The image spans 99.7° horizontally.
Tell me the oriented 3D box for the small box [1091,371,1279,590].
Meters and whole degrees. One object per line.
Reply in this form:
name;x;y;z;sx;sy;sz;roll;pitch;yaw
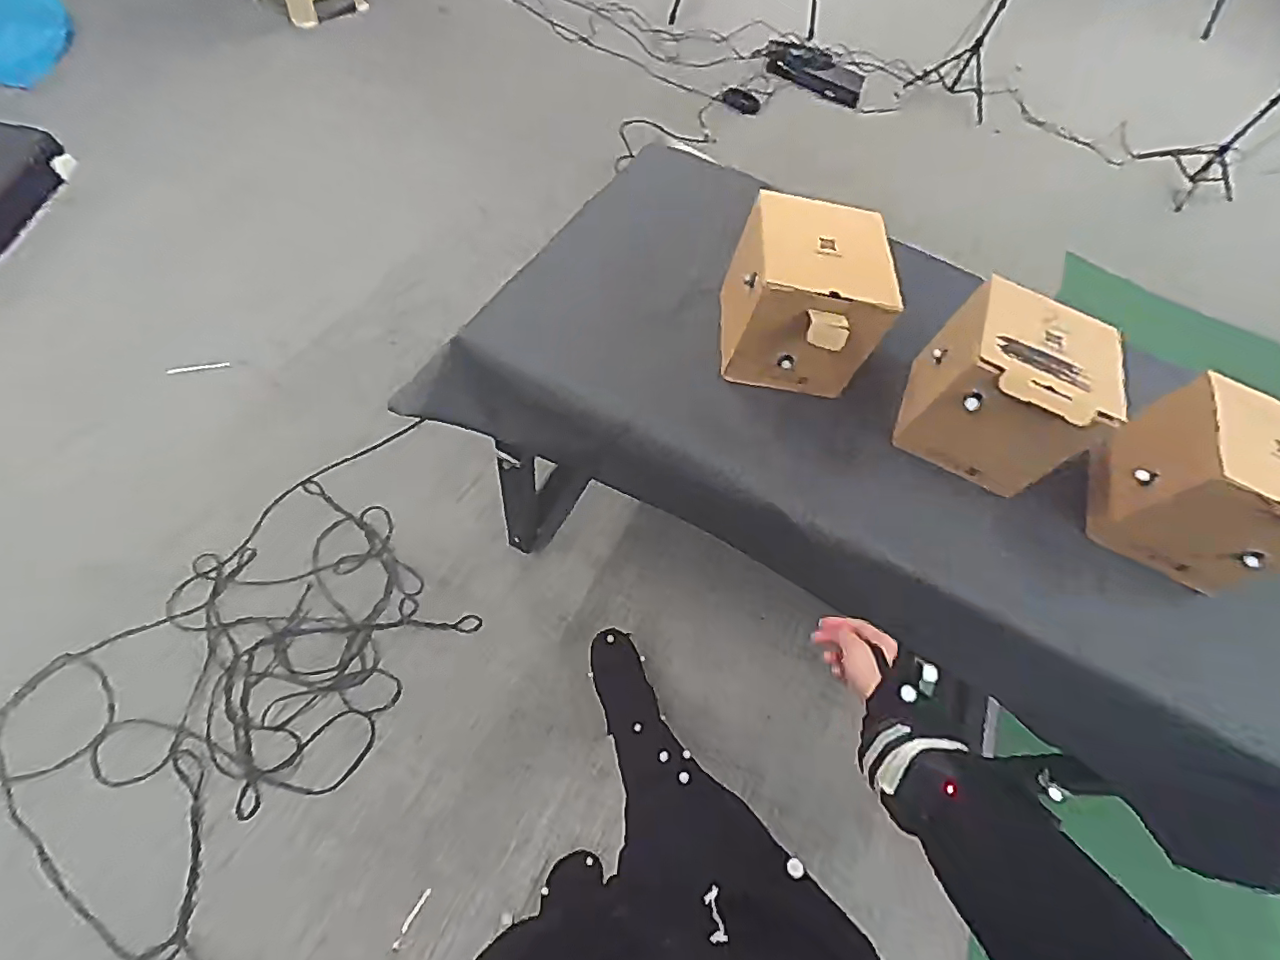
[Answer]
small box;0.699;0.009;0.662;0.168;0.176;0.179;27;59;4

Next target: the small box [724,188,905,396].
small box;0.212;-0.239;0.711;0.168;0.176;0.179;8;61;-6
